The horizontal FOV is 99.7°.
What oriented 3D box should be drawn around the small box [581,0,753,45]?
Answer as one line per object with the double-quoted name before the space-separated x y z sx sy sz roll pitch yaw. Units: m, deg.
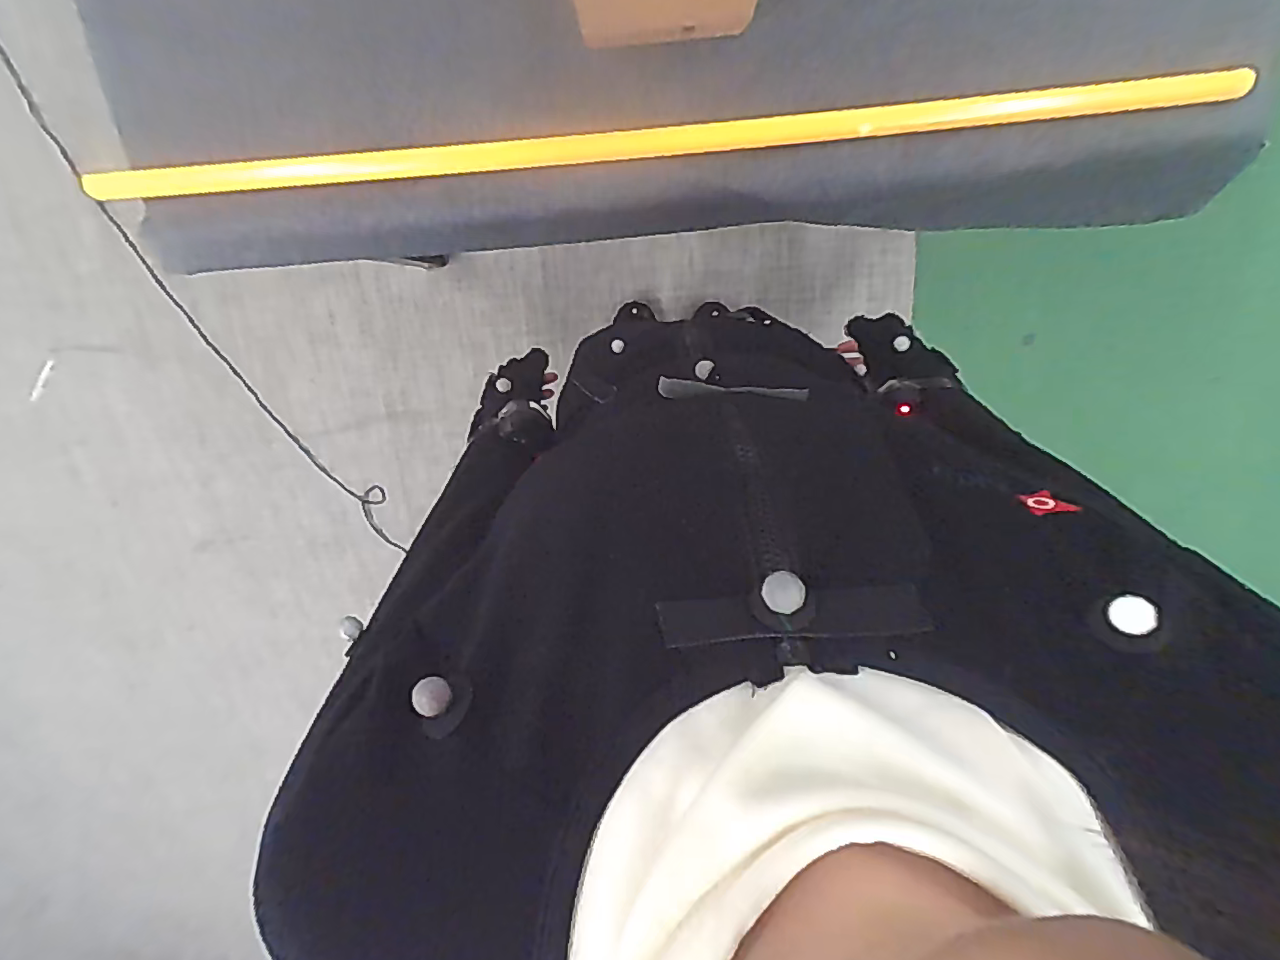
"small box" 0.019 -0.512 0.453 0.168 0.176 0.179 -4 107 3
